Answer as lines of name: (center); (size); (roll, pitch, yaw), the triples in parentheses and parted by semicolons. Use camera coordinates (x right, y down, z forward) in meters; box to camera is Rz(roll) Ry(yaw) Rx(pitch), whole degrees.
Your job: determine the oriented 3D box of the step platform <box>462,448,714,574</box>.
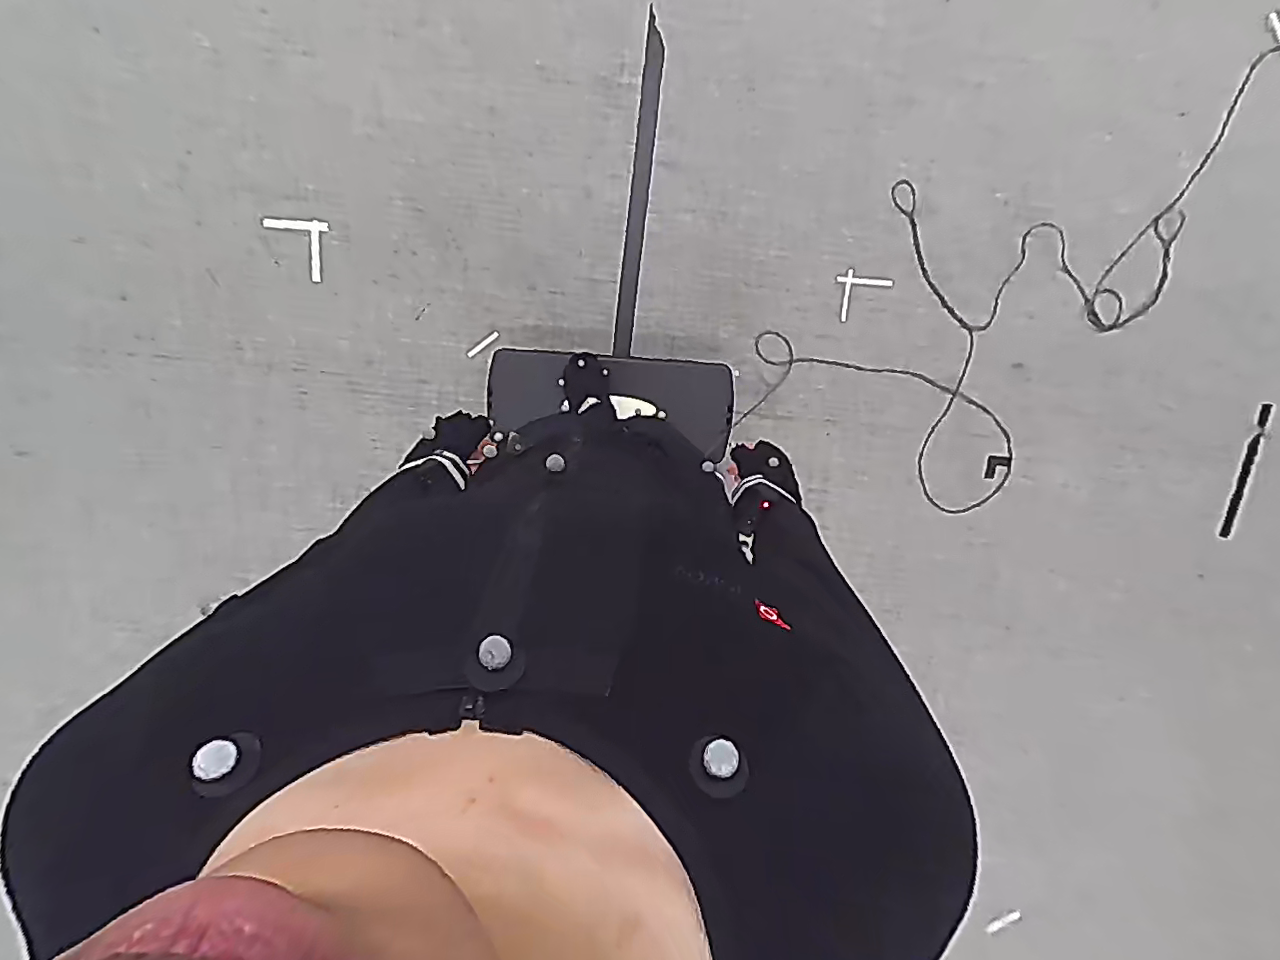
step platform: (-0.138, 0.083, 1.501); (0.684, 0.204, 0.286); (5, 100, 0)
